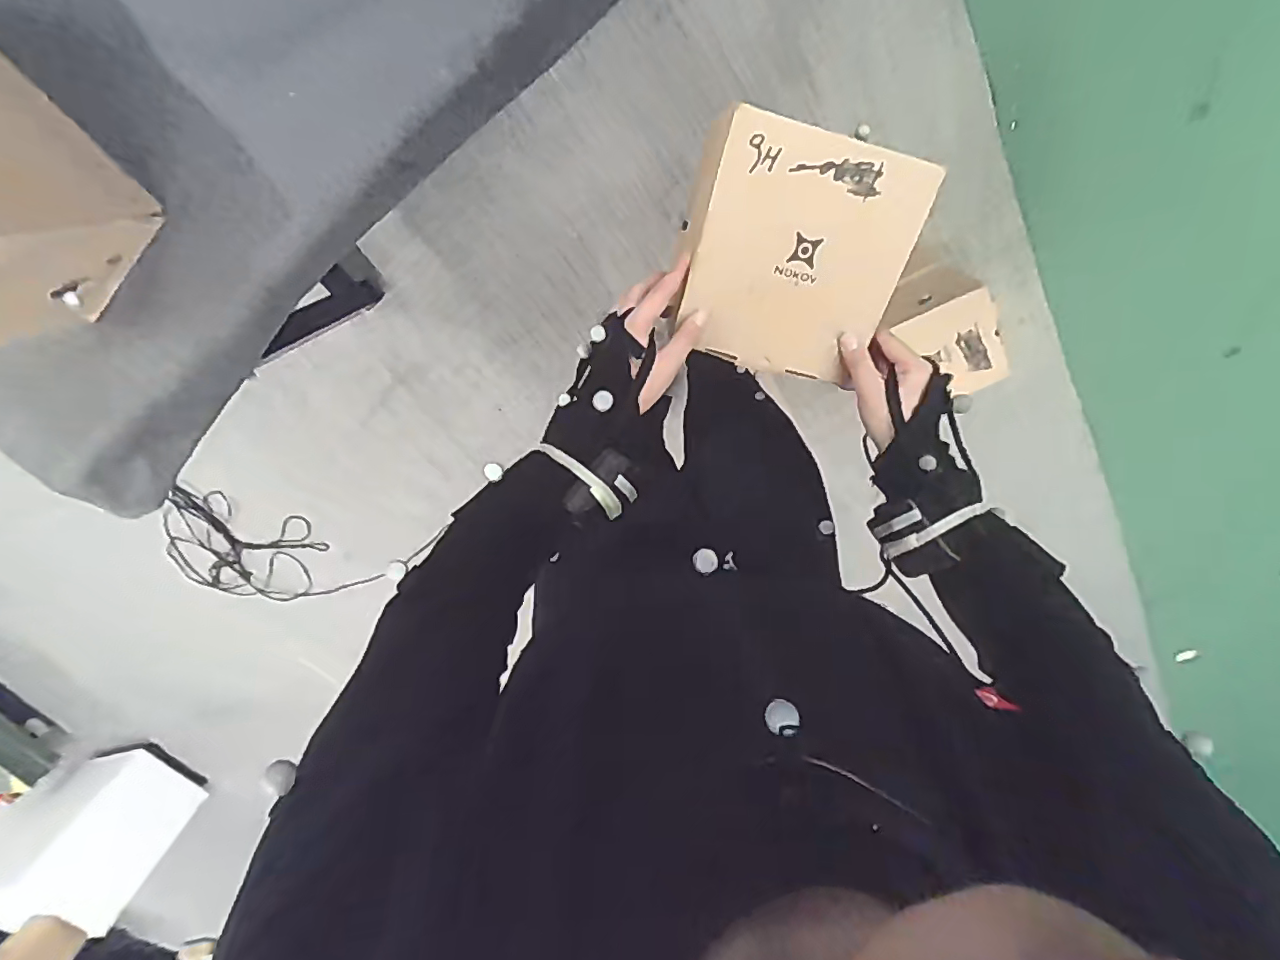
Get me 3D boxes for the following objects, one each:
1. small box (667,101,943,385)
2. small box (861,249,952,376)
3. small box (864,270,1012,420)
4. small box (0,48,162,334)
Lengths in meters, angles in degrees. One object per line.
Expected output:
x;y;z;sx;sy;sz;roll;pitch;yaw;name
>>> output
0.123;-0.211;0.490;0.168;0.176;0.179;11;118;-7;small box
0.508;-0.330;1.065;0.179;0.176;0.168;-23;116;21;small box
0.492;-0.237;0.930;0.179;0.176;0.168;-23;115;21;small box
-0.532;-0.217;0.399;0.168;0.176;0.179;-31;114;22;small box
